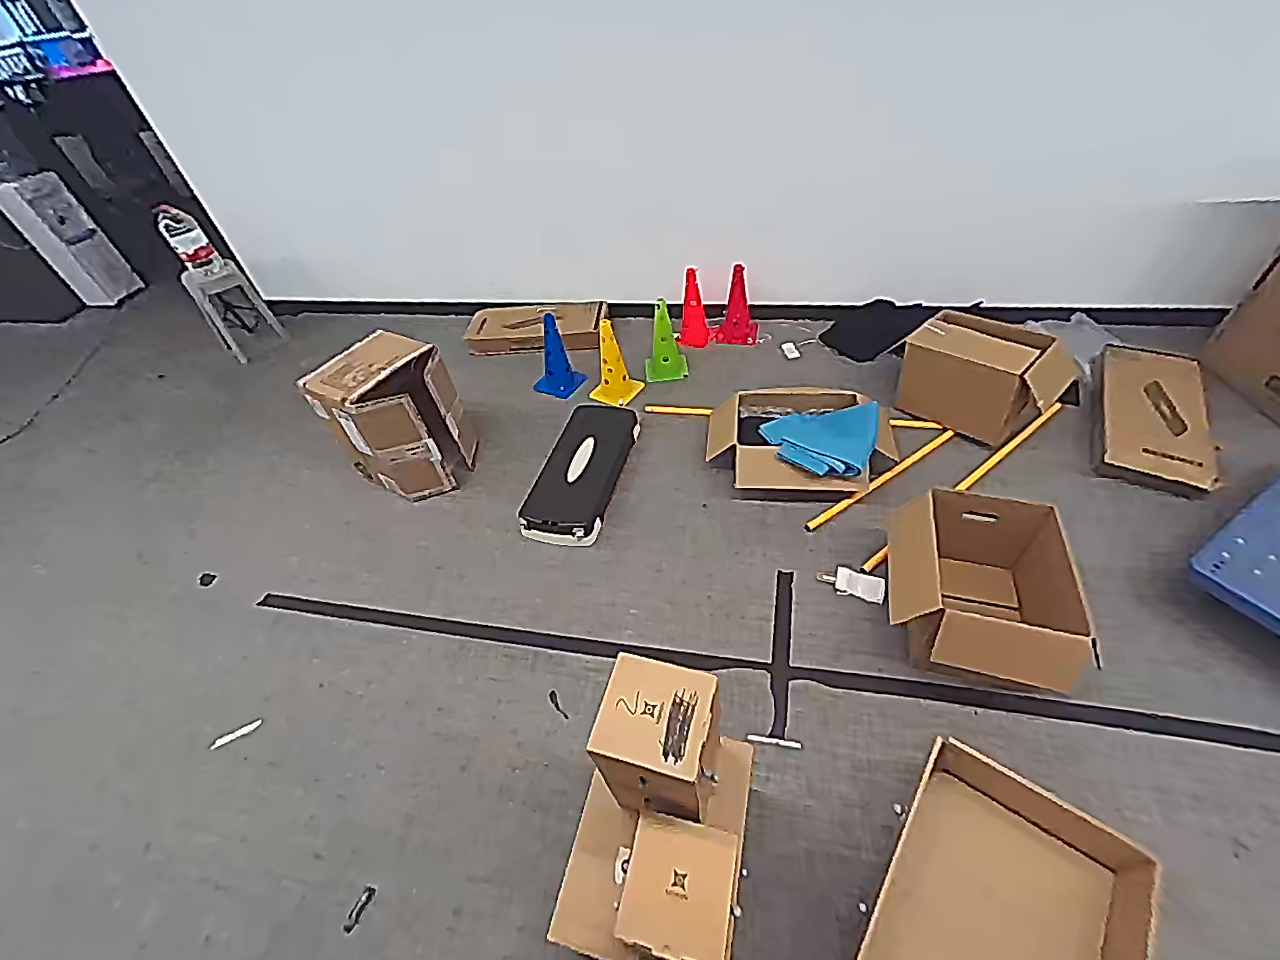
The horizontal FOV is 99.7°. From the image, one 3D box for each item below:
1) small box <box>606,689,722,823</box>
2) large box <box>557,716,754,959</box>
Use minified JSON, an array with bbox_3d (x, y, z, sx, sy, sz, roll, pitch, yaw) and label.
[{"bbox_3d":[0.054,0.526,1.026,0.179,0.176,0.168,9,50,16],"label":"small box"},{"bbox_3d":[0.061,0.773,1.131,0.320,0.320,0.408,5,48,15],"label":"large box"}]
